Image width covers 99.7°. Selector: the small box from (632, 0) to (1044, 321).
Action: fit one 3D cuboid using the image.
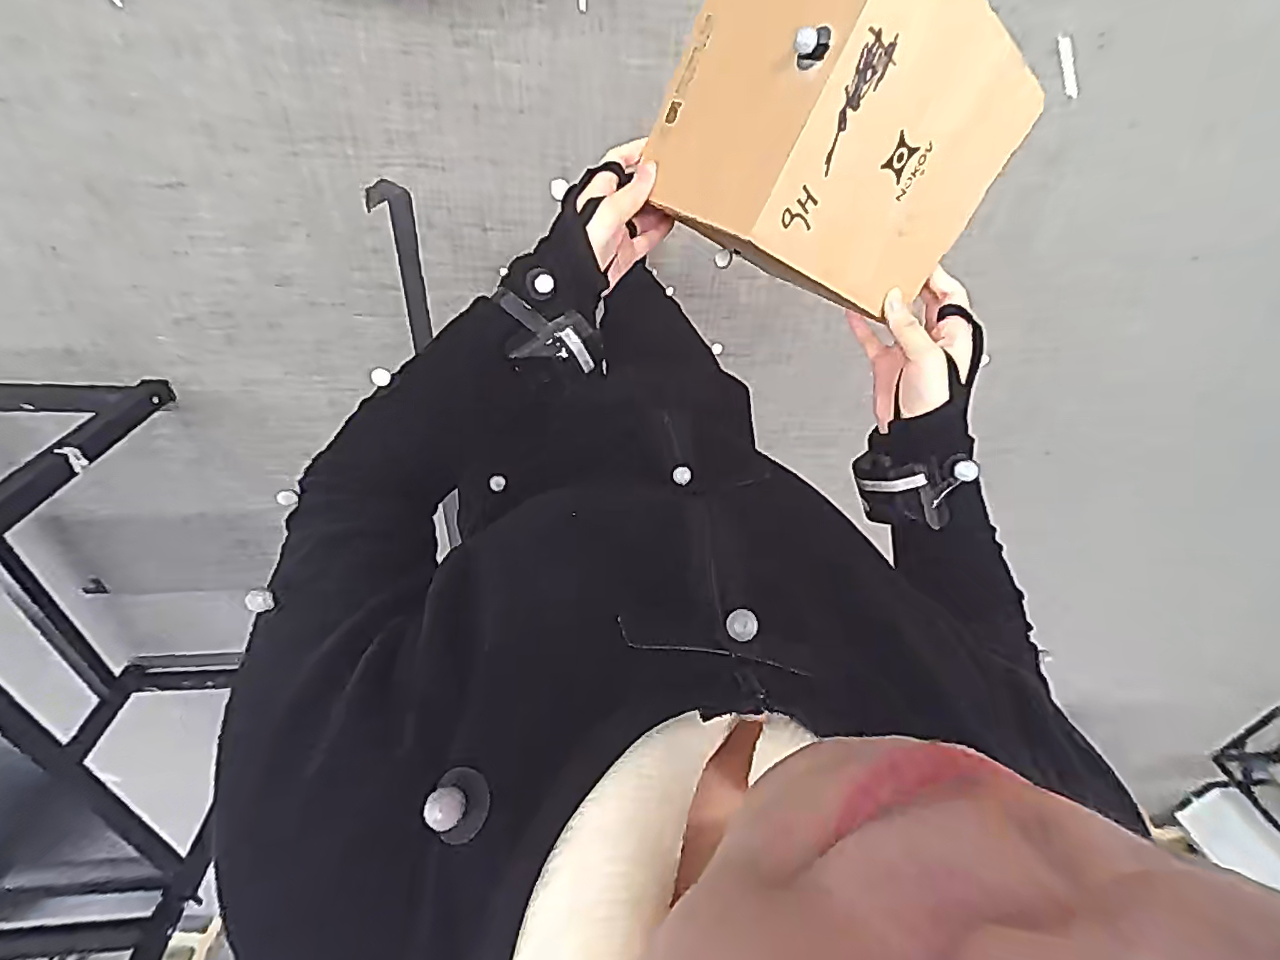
[{"bbox_3d":[0.126,-0.242,0.385,0.179,0.176,0.168,10,116,-38],"label":"small box"}]
